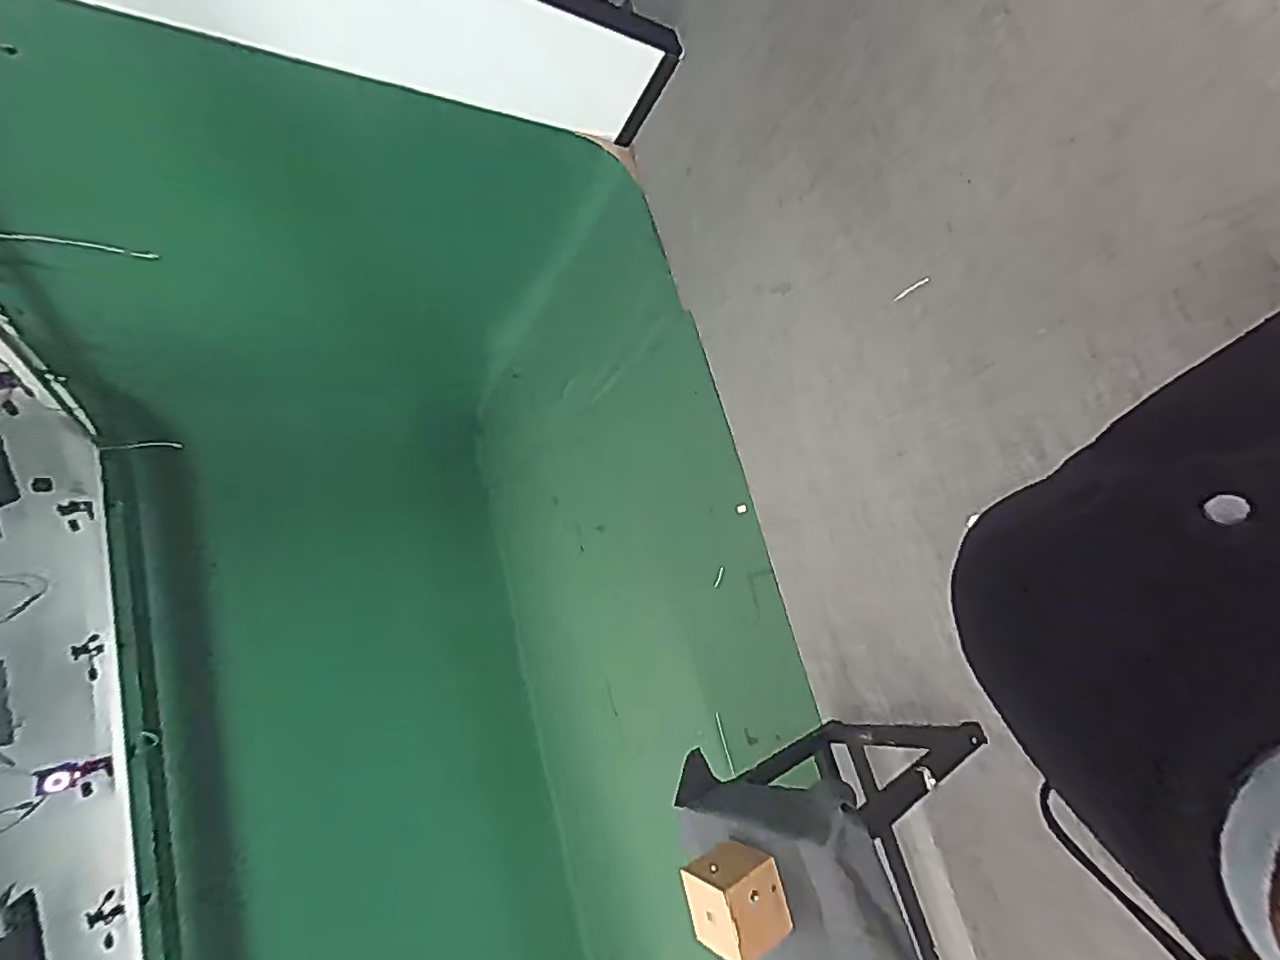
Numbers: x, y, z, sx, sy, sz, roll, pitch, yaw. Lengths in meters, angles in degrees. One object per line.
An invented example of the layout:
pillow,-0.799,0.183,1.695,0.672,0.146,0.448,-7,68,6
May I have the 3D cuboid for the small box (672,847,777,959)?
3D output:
small box,0.208,1.026,1.302,0.179,0.176,0.168,-29,71,55
